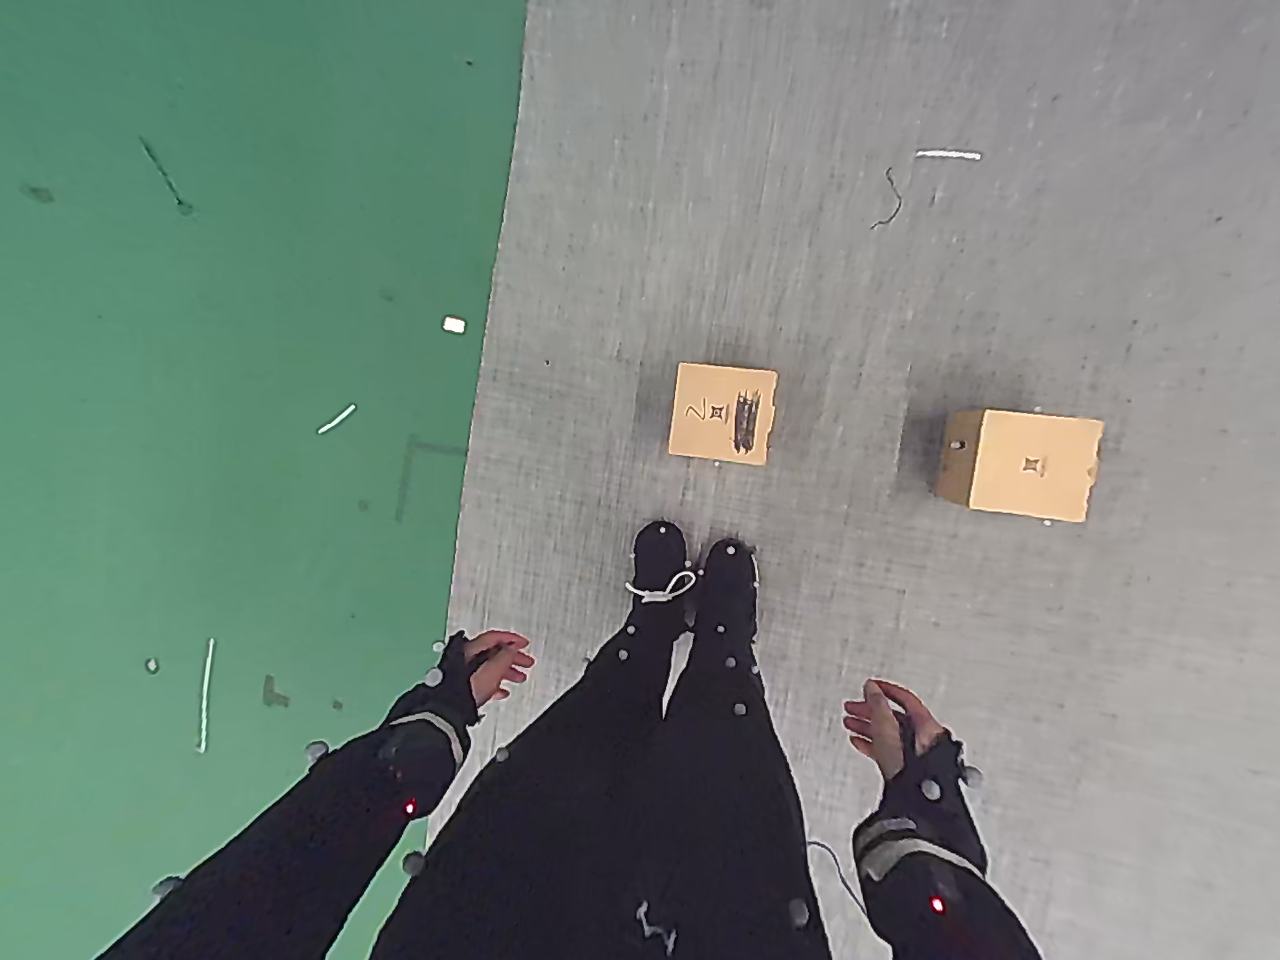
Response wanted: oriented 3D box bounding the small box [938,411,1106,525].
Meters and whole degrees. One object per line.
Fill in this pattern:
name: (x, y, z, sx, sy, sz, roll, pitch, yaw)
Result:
small box: (0.643, -0.023, 0.935, 0.179, 0.176, 0.168, 7, 95, 10)
